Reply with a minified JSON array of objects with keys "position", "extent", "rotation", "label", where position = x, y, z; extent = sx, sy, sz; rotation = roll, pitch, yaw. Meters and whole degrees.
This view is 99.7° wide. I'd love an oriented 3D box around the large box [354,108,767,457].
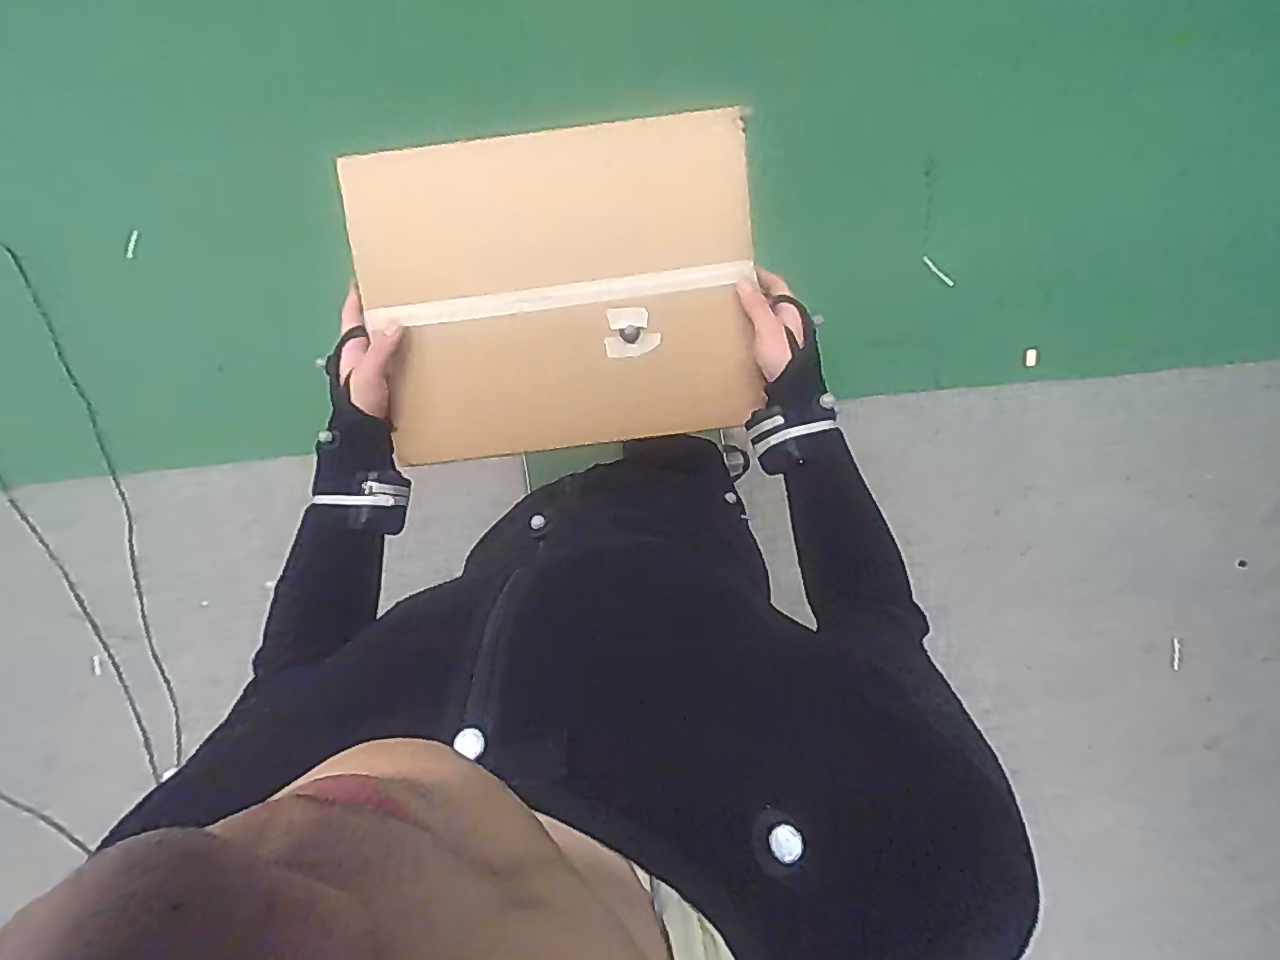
[{"position":[-0.080,-0.223,0.716],"extent":[0.408,0.320,0.320],"rotation":[-7,100,0],"label":"large box"}]
